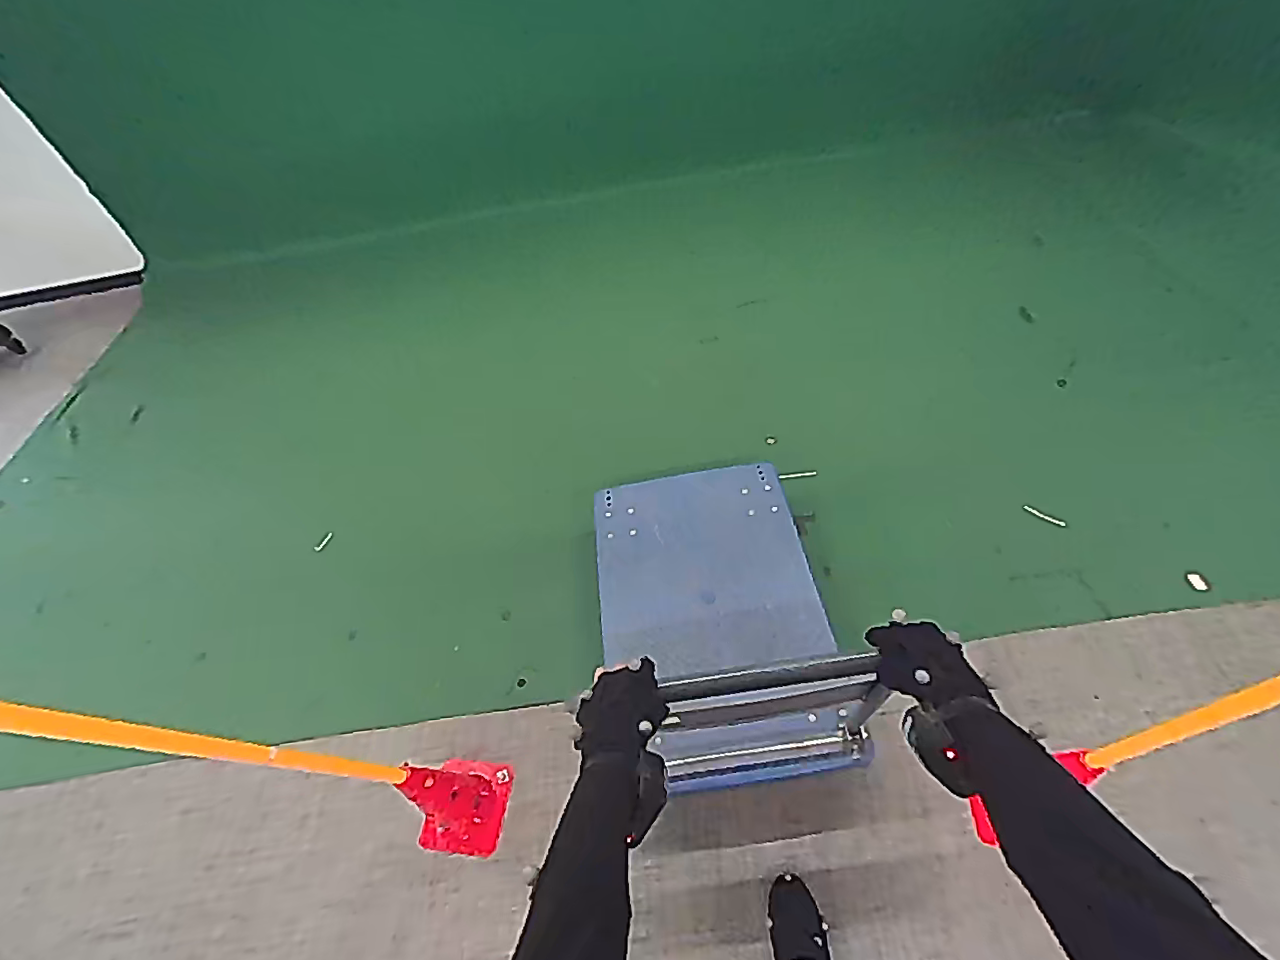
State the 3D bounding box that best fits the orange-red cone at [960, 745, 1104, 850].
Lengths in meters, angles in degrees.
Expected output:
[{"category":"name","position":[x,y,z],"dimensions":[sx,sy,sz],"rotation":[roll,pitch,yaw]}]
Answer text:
[{"category":"orange-red cone","position":[0.824,0.604,1.089],"dimensions":[0.198,0.360,0.199],"rotation":[-1,52,9]}]
